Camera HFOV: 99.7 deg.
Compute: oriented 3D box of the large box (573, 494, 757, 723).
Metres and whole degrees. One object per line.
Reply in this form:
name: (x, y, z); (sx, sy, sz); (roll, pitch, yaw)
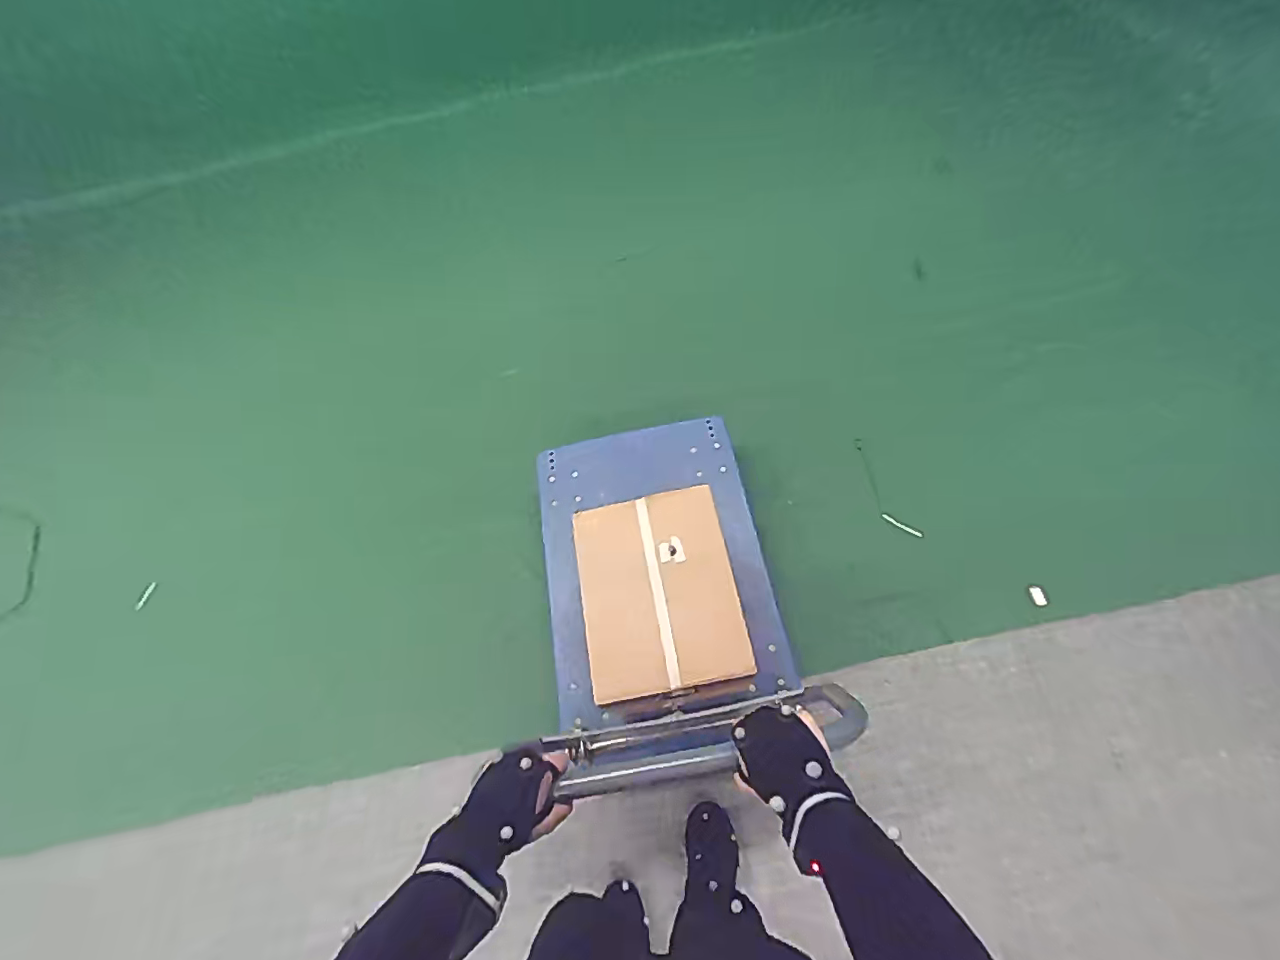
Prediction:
large box: (0.056, 0.301, 1.229); (0.320, 0.320, 0.408); (-12, 61, 2)
